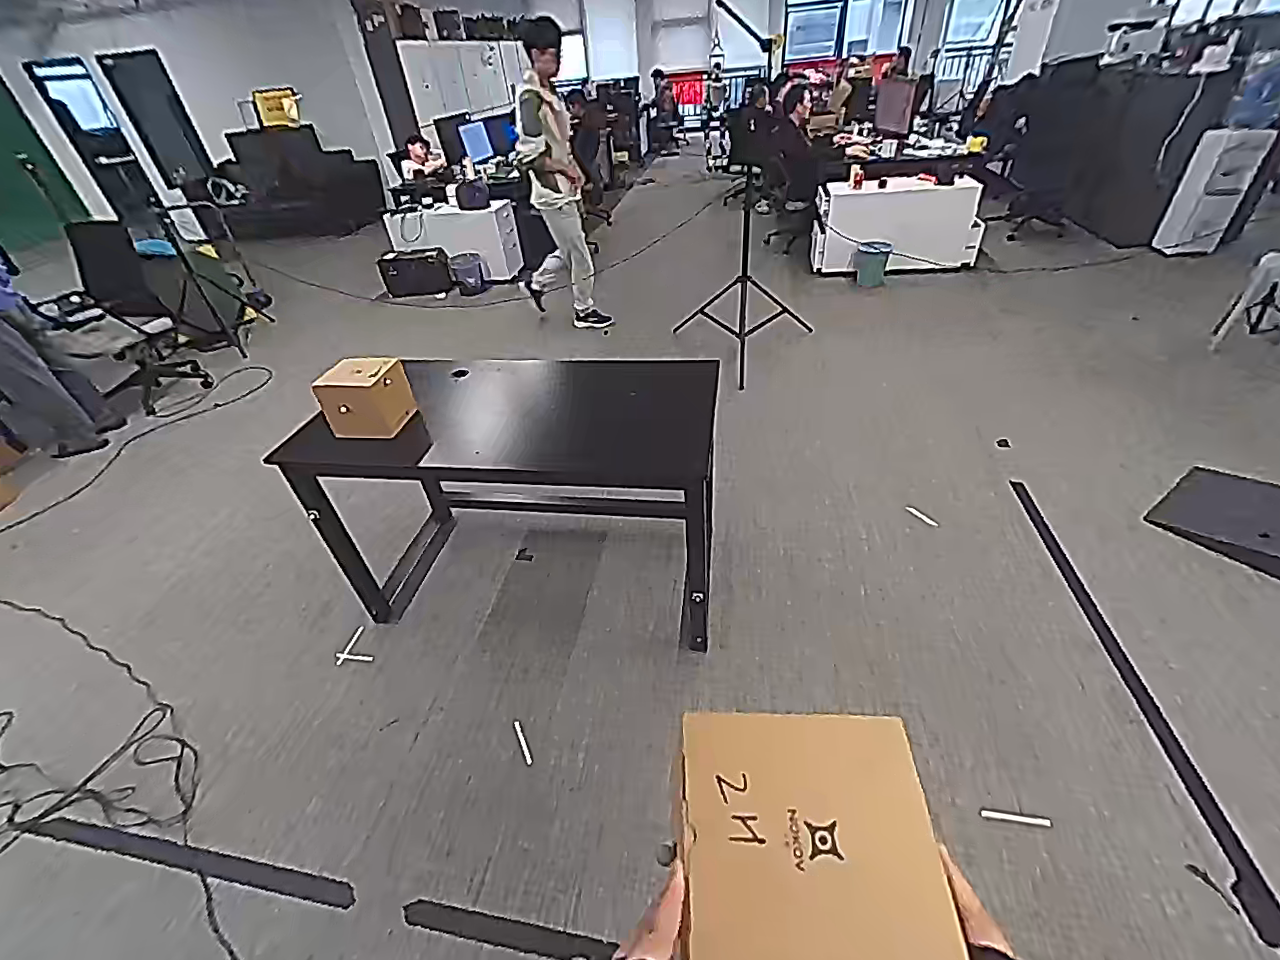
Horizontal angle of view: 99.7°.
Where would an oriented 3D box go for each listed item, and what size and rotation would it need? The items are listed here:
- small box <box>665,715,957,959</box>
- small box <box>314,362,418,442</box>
[{"bbox_3d":[0.111,0.302,0.434,0.179,0.176,0.168,0,49,1],"label":"small box"},{"bbox_3d":[-0.768,-0.219,1.534,0.179,0.176,0.168,1,38,9],"label":"small box"}]
